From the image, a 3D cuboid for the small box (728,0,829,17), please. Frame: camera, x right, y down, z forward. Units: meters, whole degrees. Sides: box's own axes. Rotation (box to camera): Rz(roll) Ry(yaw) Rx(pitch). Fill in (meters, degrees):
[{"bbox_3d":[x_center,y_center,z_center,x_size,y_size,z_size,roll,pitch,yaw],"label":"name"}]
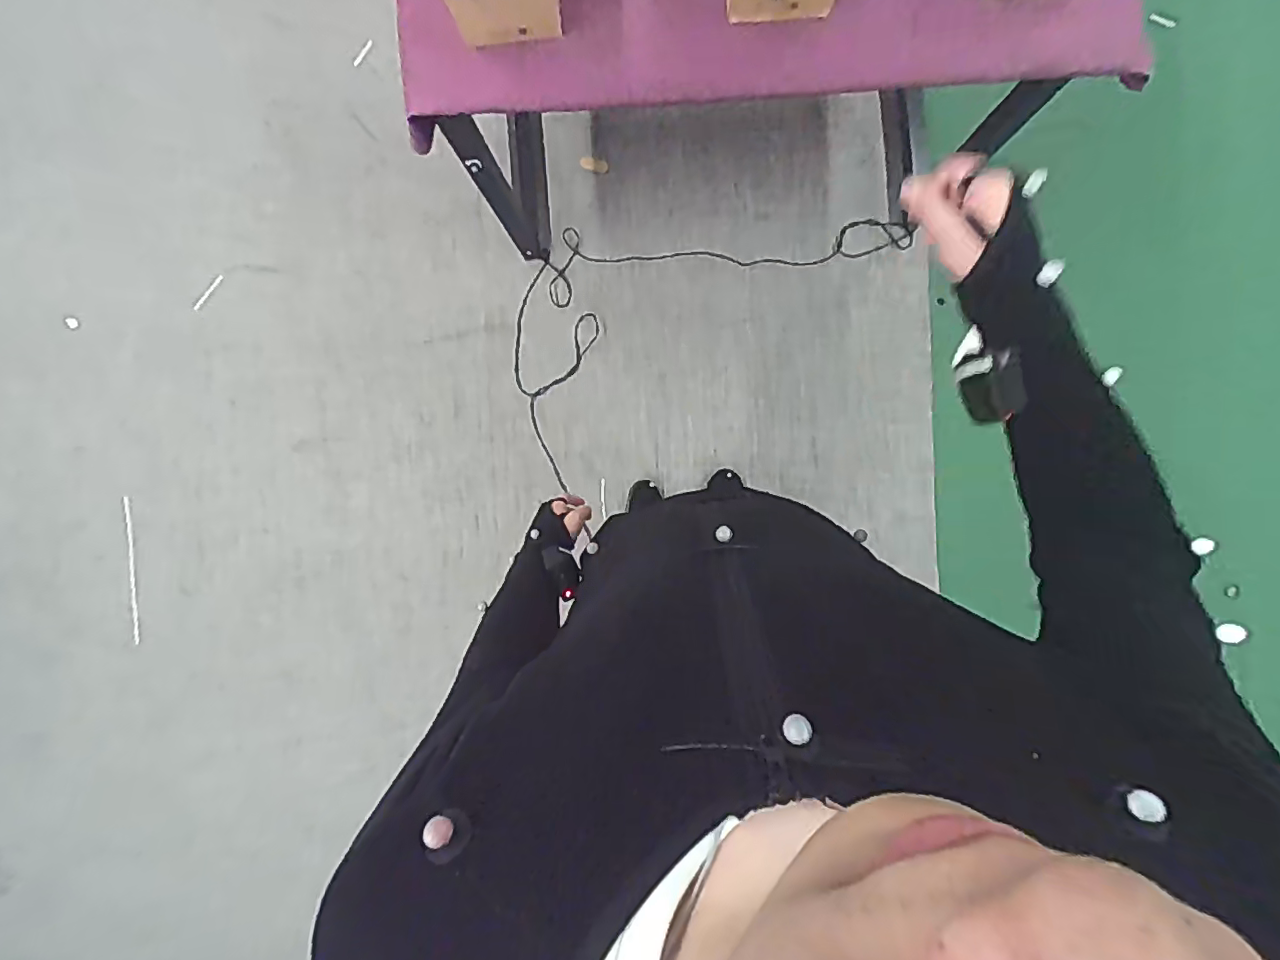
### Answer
[{"bbox_3d":[0.221,-0.849,0.808,0.168,0.176,0.179,-2,90,2],"label":"small box"}]
